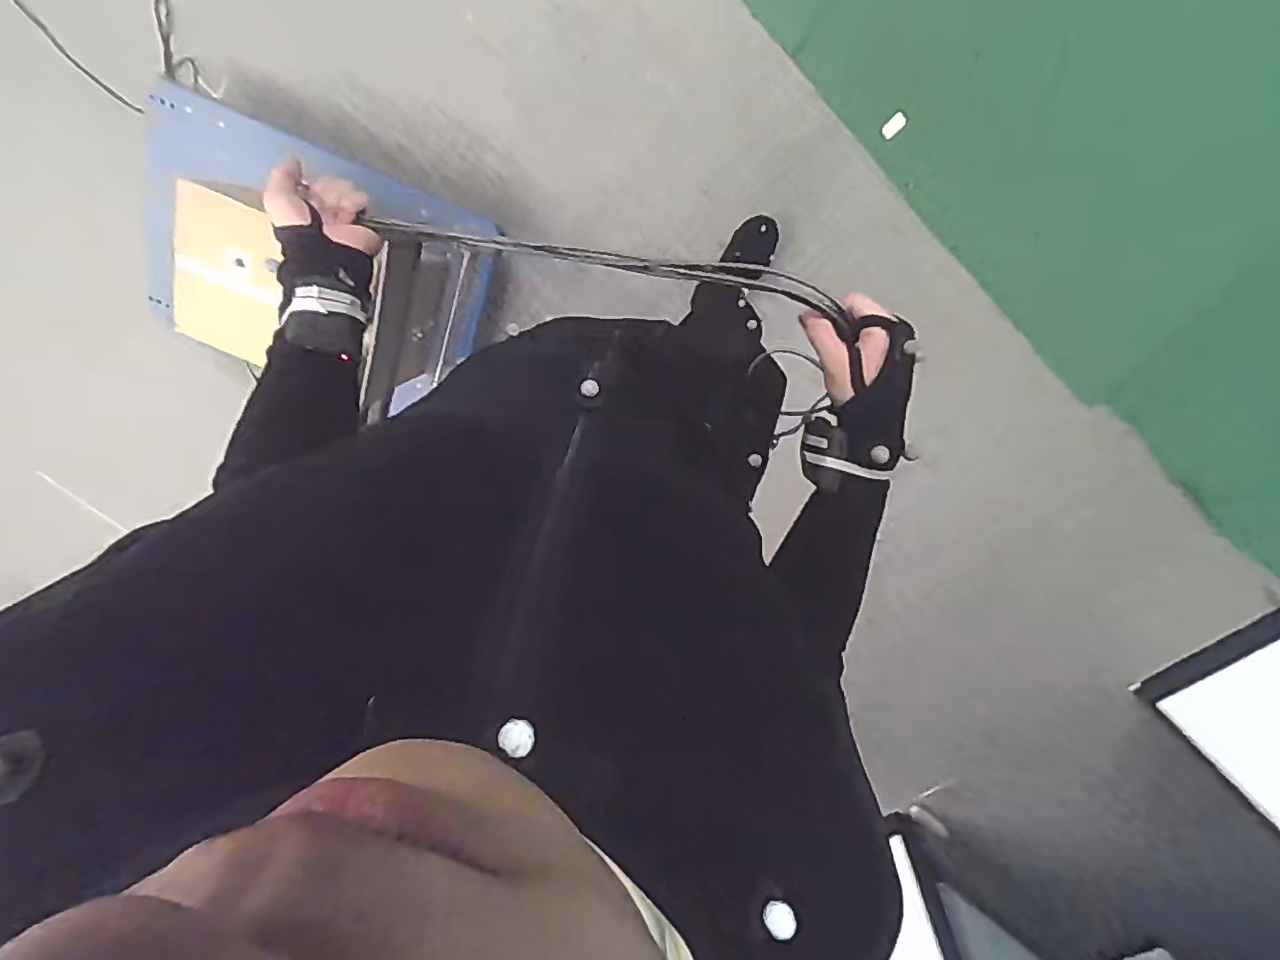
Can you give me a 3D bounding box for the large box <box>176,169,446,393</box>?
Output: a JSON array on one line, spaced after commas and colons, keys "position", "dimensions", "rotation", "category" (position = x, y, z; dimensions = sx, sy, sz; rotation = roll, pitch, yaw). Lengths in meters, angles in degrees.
[{"position": [-0.715, -0.444, 1.219], "dimensions": [0.408, 0.320, 0.320], "rotation": [24, 114, -2], "category": "large box"}]
